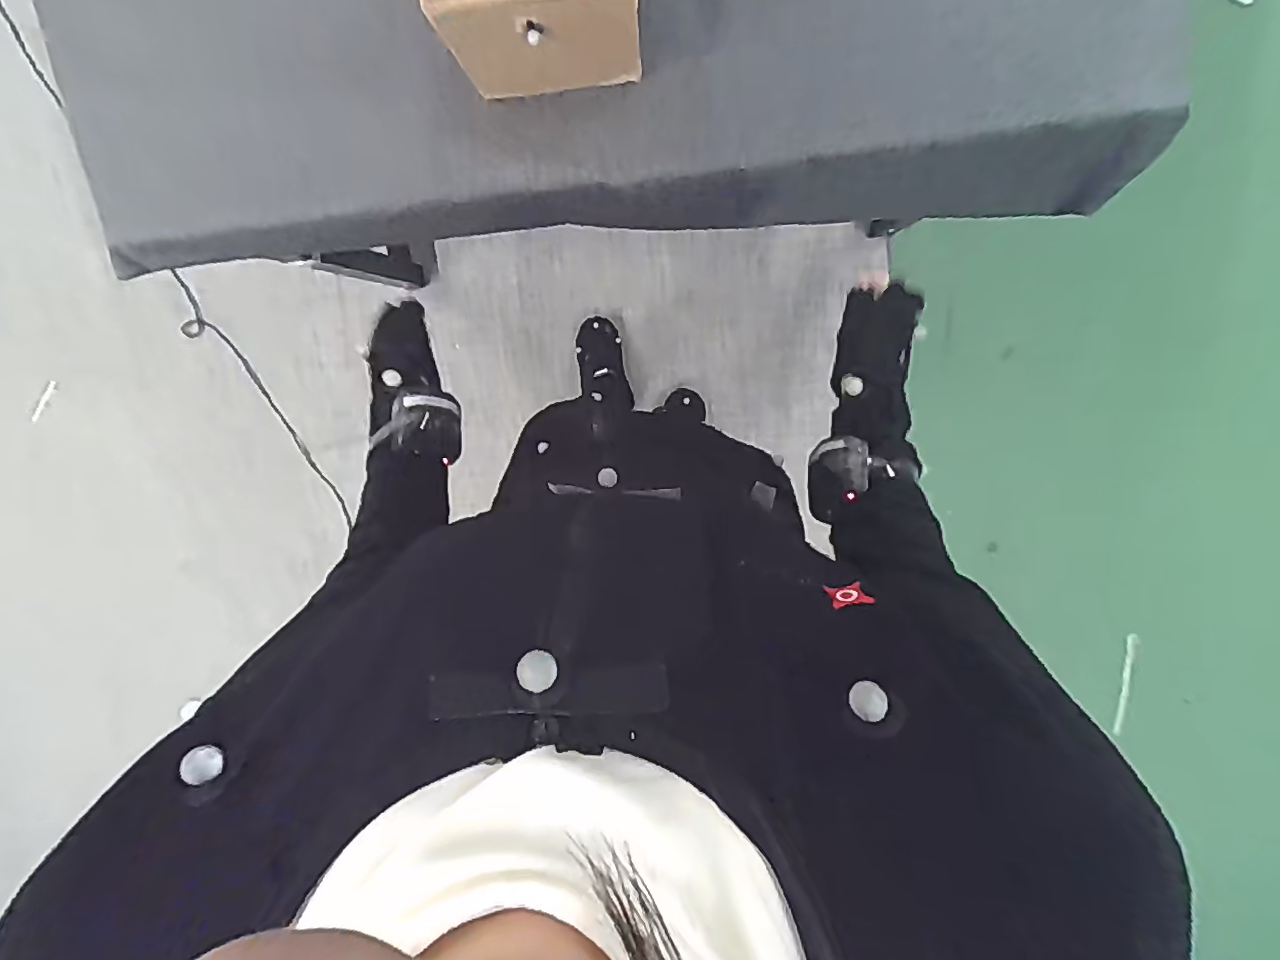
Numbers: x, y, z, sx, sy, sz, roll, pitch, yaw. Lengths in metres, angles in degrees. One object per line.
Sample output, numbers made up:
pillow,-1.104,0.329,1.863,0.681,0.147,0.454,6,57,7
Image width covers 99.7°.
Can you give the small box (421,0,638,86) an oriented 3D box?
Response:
small box,-0.097,-0.488,0.488,0.179,0.176,0.168,-4,105,3
